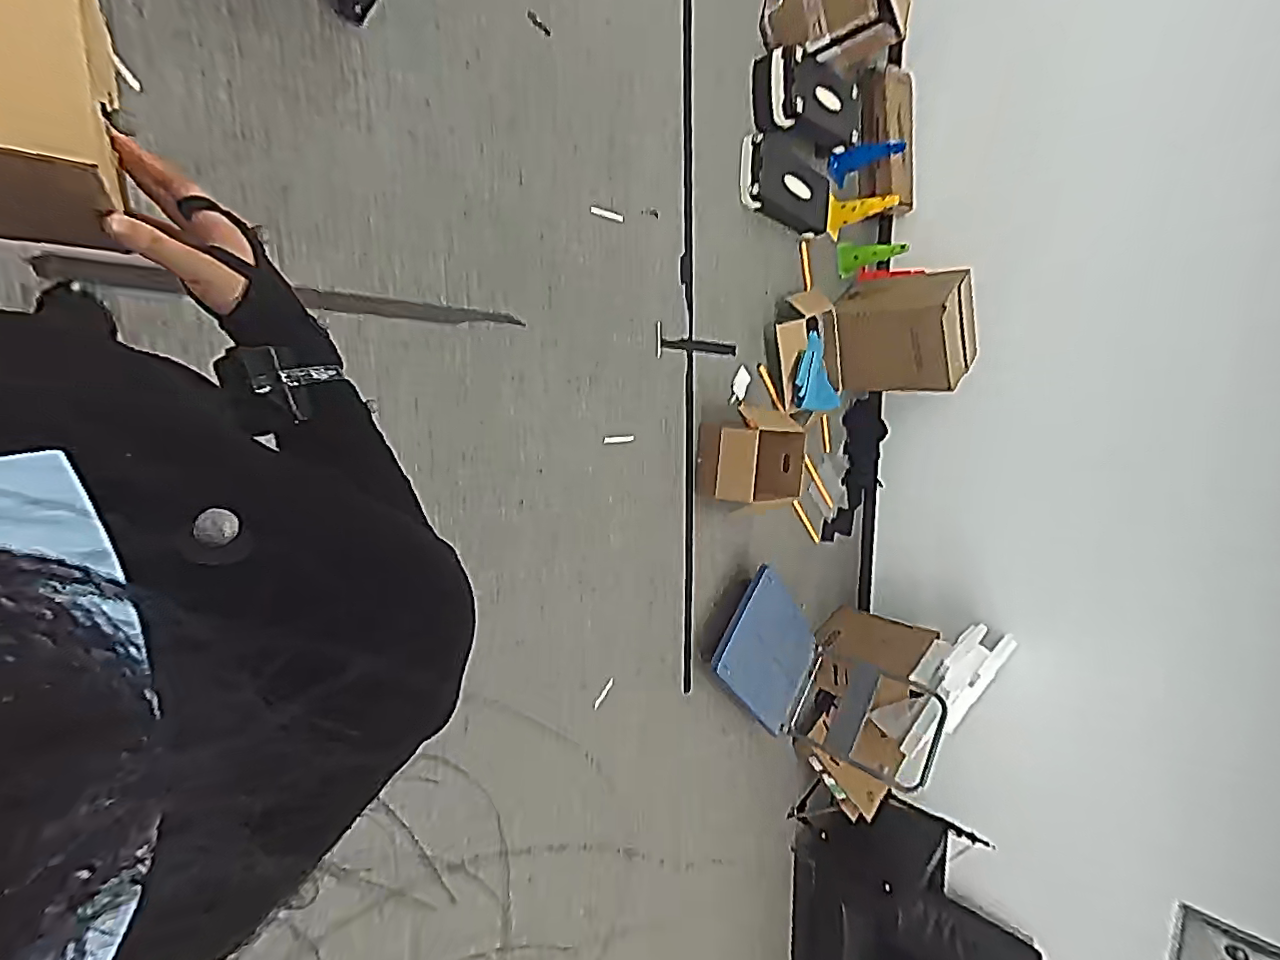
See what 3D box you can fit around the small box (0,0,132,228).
[{"bbox_3d":[-0.413,-0.258,0.301,0.179,0.176,0.168,-7,97,-37],"label":"small box"}]
